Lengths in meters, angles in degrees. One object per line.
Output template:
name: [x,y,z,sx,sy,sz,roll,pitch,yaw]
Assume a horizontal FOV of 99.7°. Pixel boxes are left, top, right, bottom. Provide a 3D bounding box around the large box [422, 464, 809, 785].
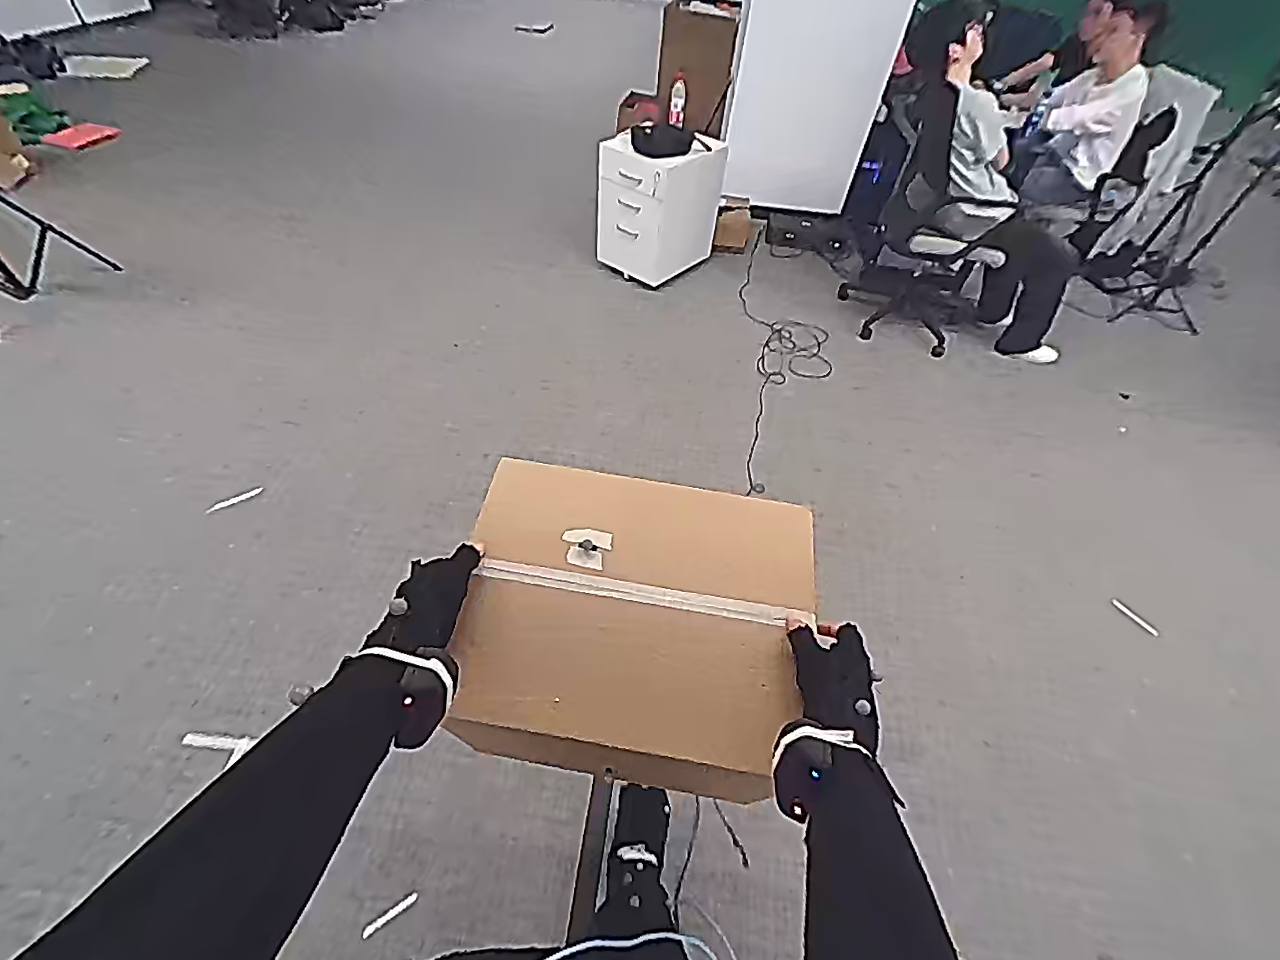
large box: [-0.012,0.212,0.749,0.408,0.320,0.320,9,55,3]
